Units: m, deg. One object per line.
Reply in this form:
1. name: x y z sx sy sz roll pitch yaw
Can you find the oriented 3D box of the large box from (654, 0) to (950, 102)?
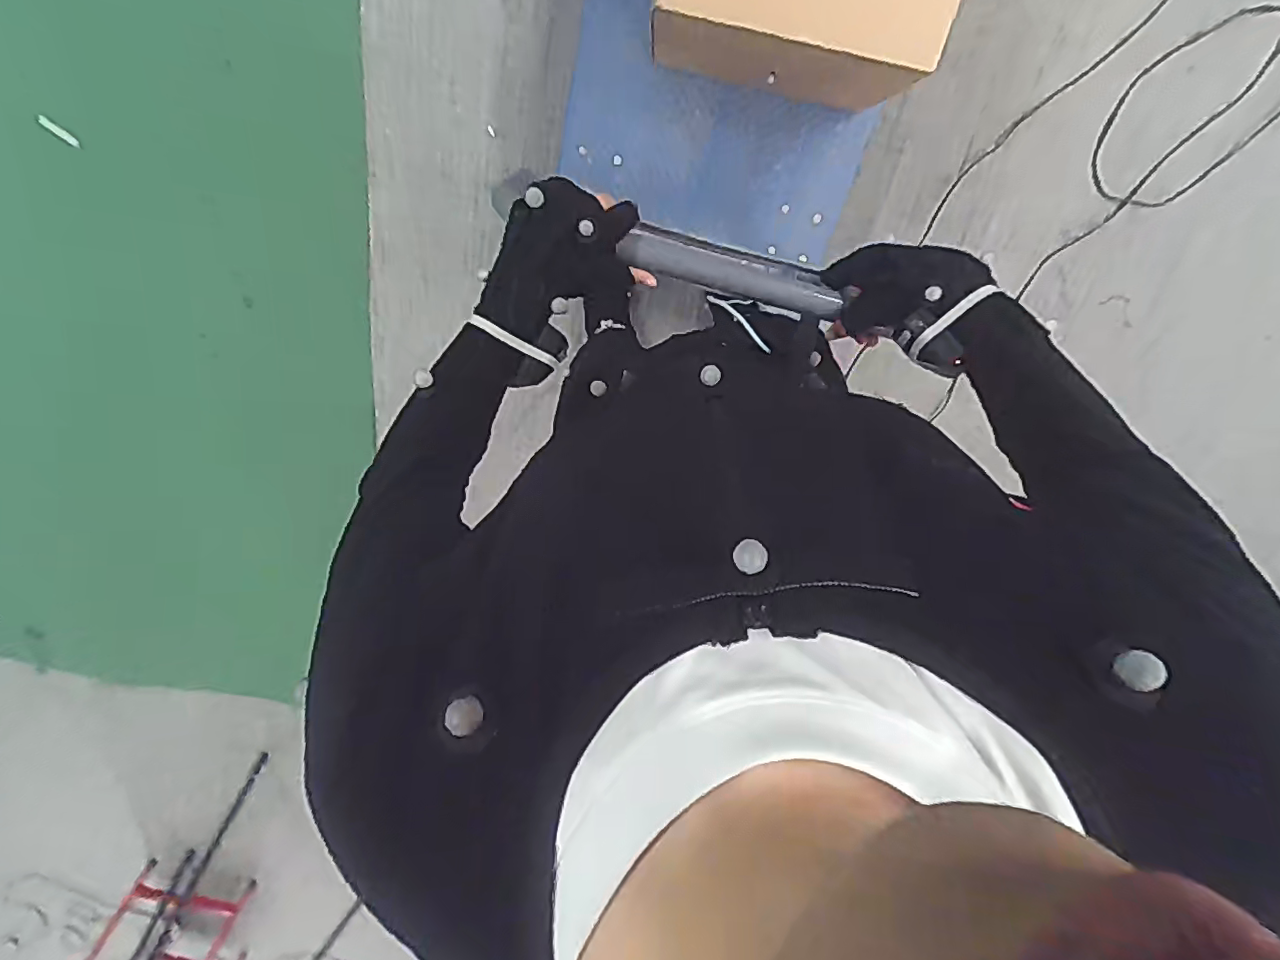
1. large box: 0.247 -0.818 0.829 0.408 0.320 0.320 10 115 -2
